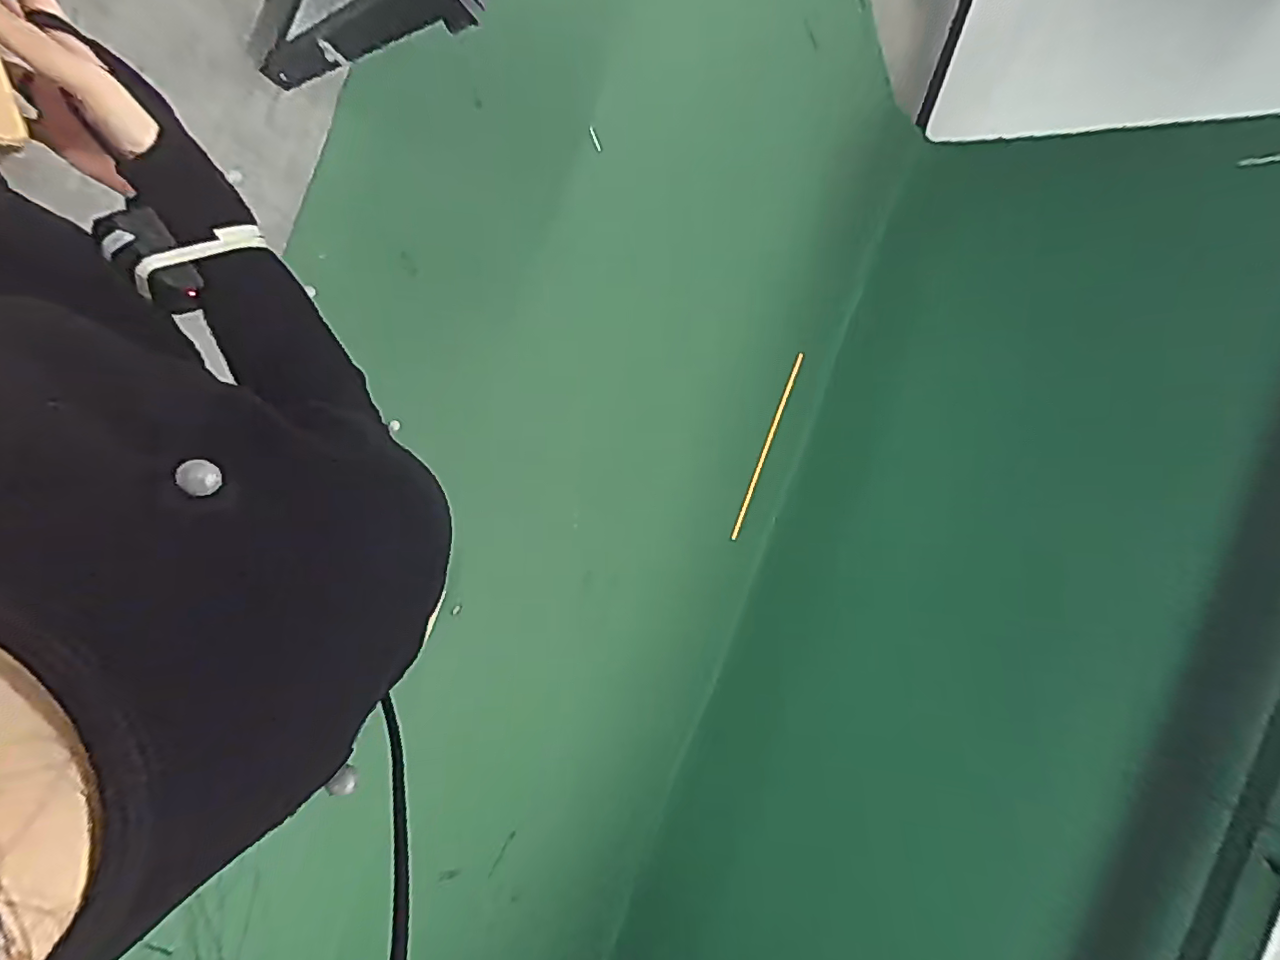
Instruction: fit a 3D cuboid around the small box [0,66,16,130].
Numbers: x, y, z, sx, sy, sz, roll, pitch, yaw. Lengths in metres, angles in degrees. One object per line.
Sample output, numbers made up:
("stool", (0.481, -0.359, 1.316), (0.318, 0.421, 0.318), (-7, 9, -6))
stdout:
("small box", (-0.424, -0.262, 0.226), (0.168, 0.176, 0.179), (-24, 126, -47))
